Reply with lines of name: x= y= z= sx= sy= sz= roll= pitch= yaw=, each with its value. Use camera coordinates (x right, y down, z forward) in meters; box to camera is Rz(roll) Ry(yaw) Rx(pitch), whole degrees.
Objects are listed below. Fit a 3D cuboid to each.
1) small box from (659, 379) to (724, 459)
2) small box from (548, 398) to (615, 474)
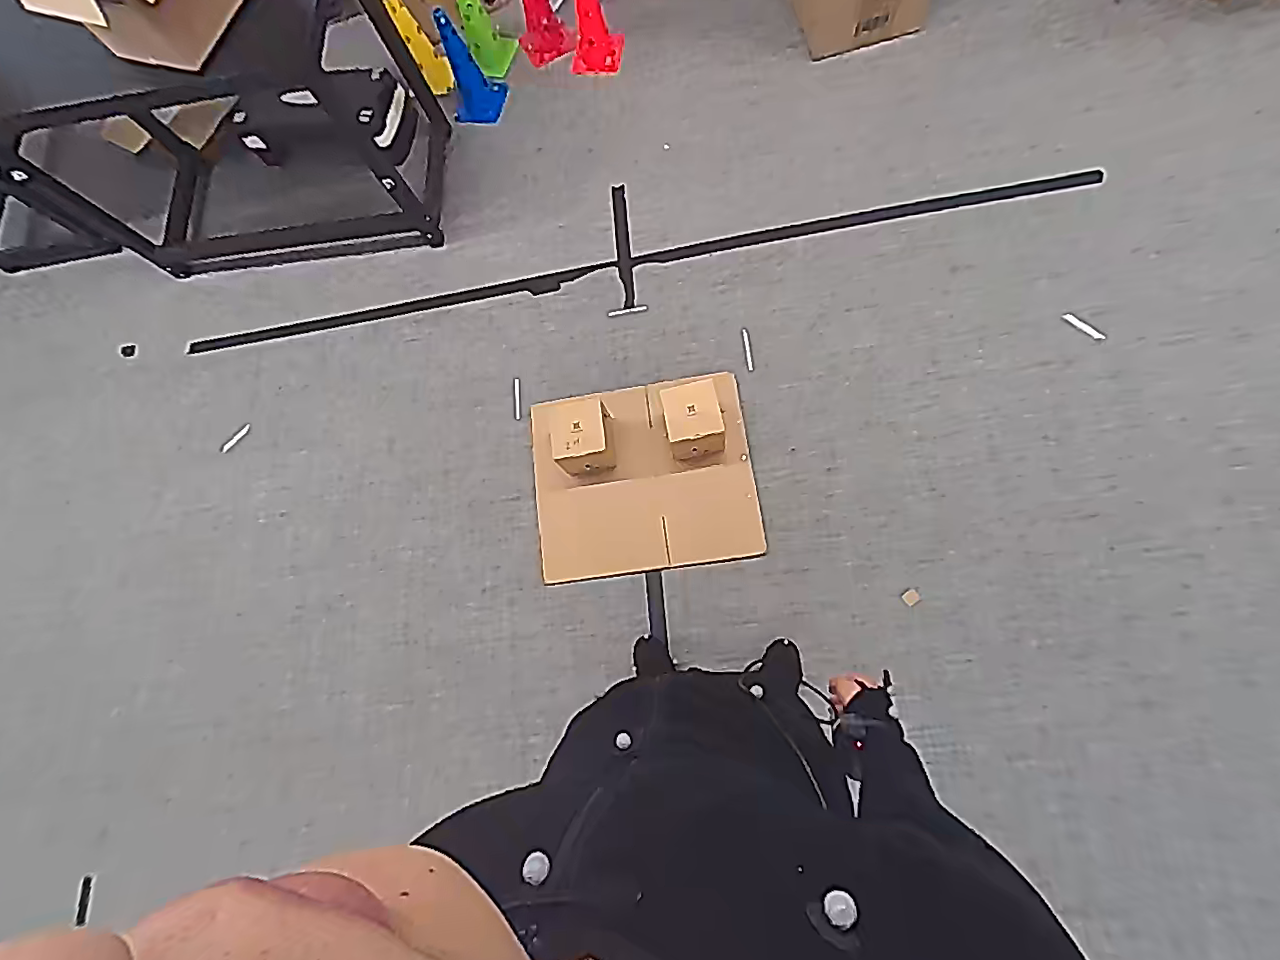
small box: x=0.159 y=-0.182 z=1.665 sx=0.168 sy=0.176 sz=0.179 roll=-13 pitch=74 yaw=5
small box: x=-0.180 y=-0.134 z=1.696 sx=0.168 sy=0.176 sz=0.179 roll=-10 pitch=75 yaw=7
